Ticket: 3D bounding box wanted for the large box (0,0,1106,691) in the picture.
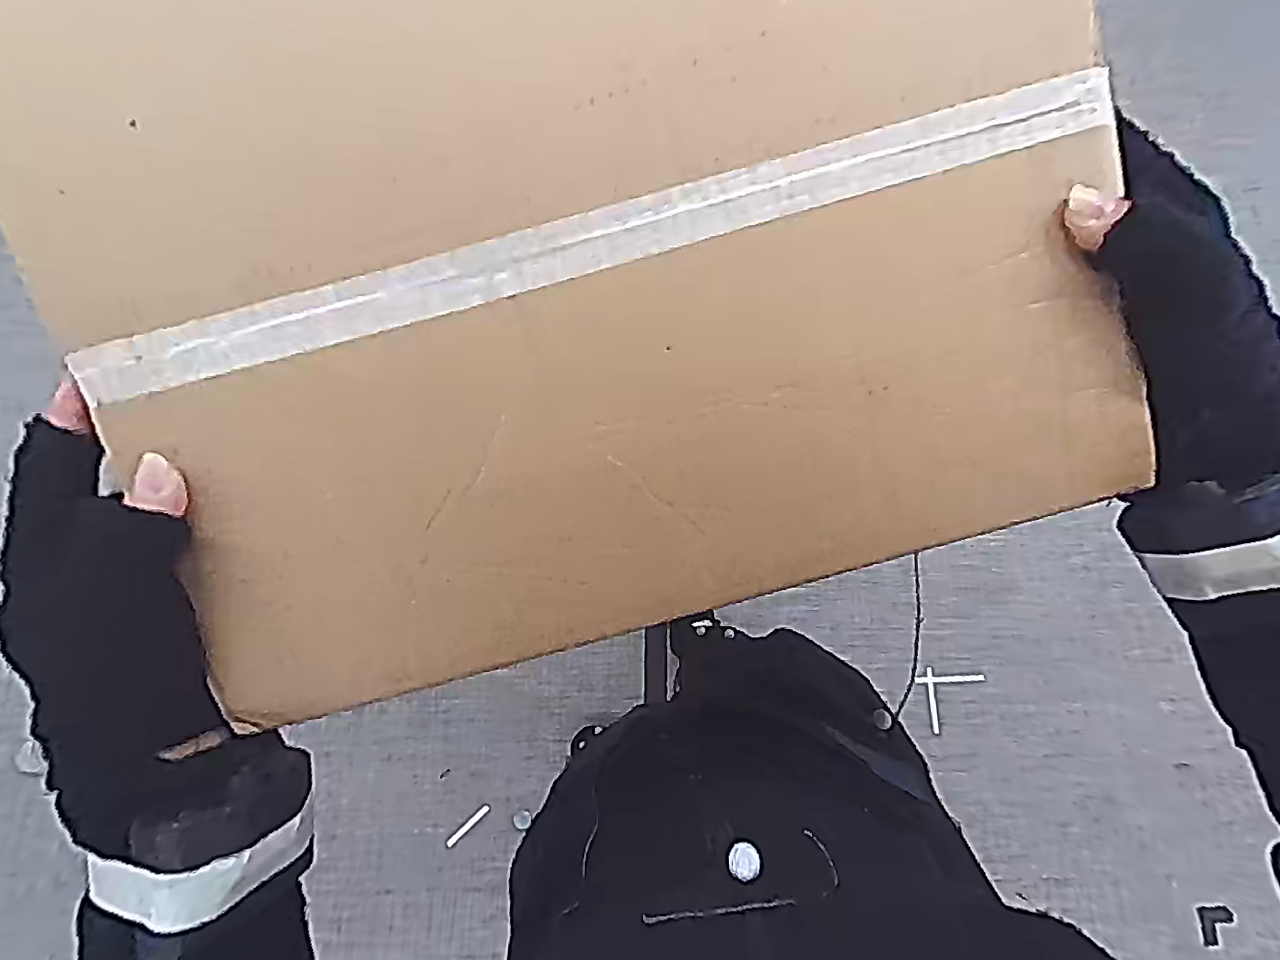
[{"bbox_3d":[-0.020,-0.125,0.367,0.408,0.320,0.320,-15,99,0],"label":"large box"}]
